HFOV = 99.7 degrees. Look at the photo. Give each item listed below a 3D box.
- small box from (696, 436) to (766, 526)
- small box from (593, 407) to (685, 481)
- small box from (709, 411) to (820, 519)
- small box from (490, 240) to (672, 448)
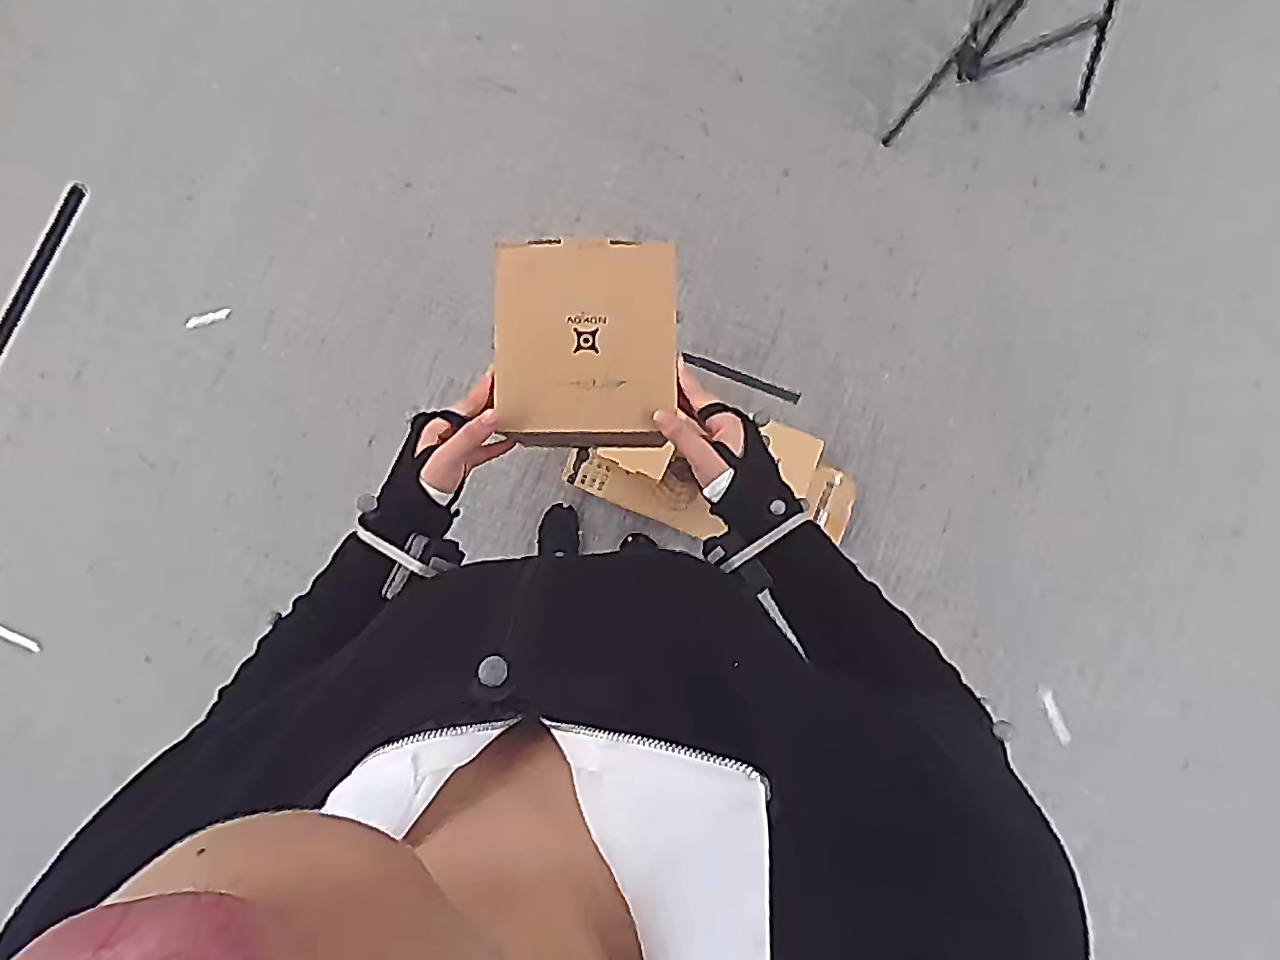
[{"bbox_3d":[0.247,-0.001,1.332,0.168,0.176,0.179,26,86,2],"label":"small box"},{"bbox_3d":[-0.001,-0.106,1.337,0.168,0.176,0.179,24,87,2],"label":"small box"},{"bbox_3d":[0.259,-0.026,1.168,0.168,0.176,0.179,22,85,2],"label":"small box"},{"bbox_3d":[-0.057,-0.129,0.569,0.168,0.176,0.179,-2,89,-2],"label":"small box"}]
